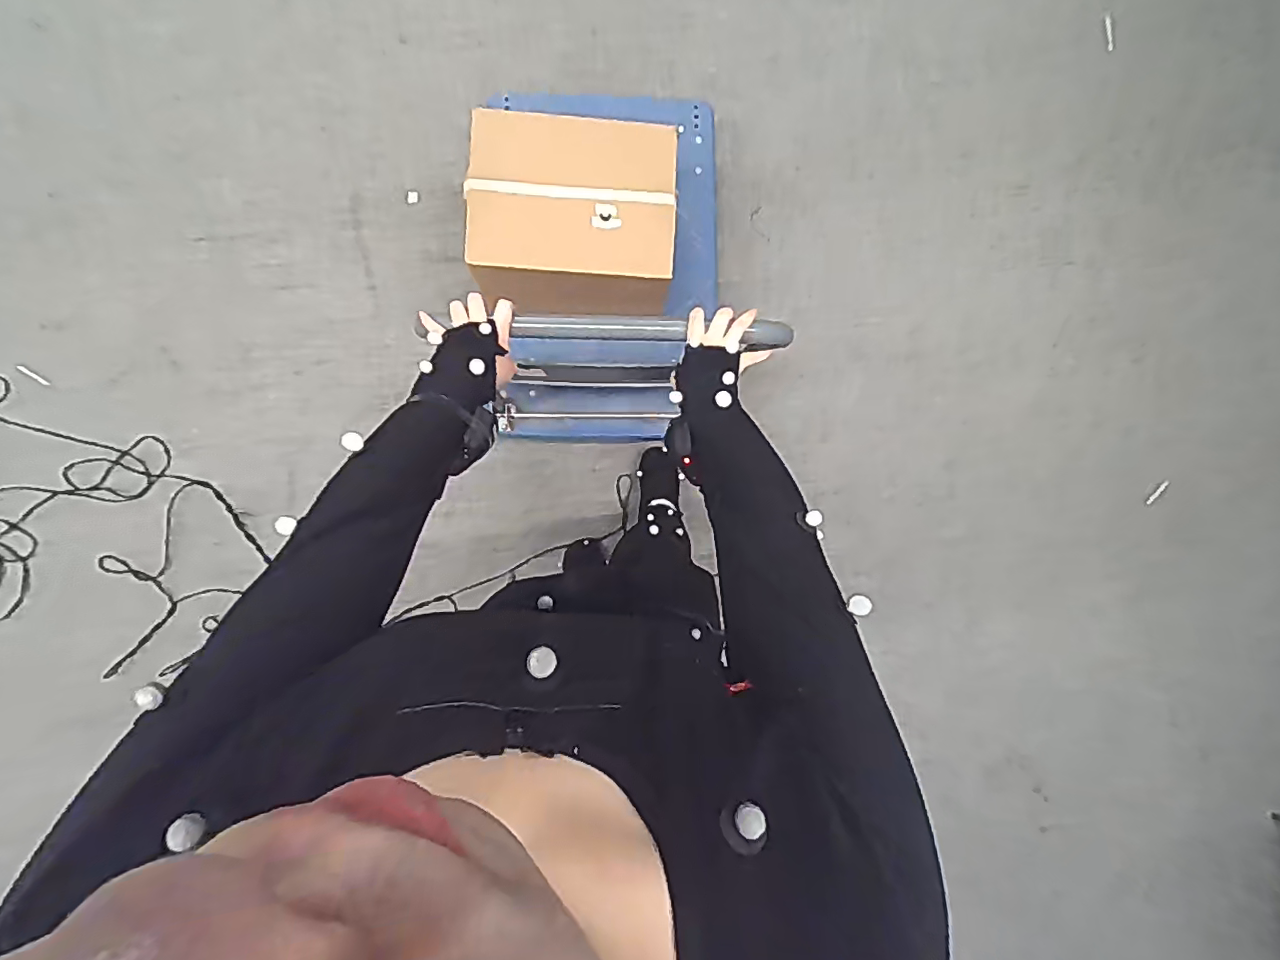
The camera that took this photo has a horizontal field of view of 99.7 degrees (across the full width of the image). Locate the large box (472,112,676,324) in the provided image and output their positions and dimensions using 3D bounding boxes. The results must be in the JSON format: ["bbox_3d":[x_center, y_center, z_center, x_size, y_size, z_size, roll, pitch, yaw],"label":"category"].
[{"bbox_3d":[-0.143,-0.562,1.223,0.408,0.320,0.320,3,87,-5],"label":"large box"}]
